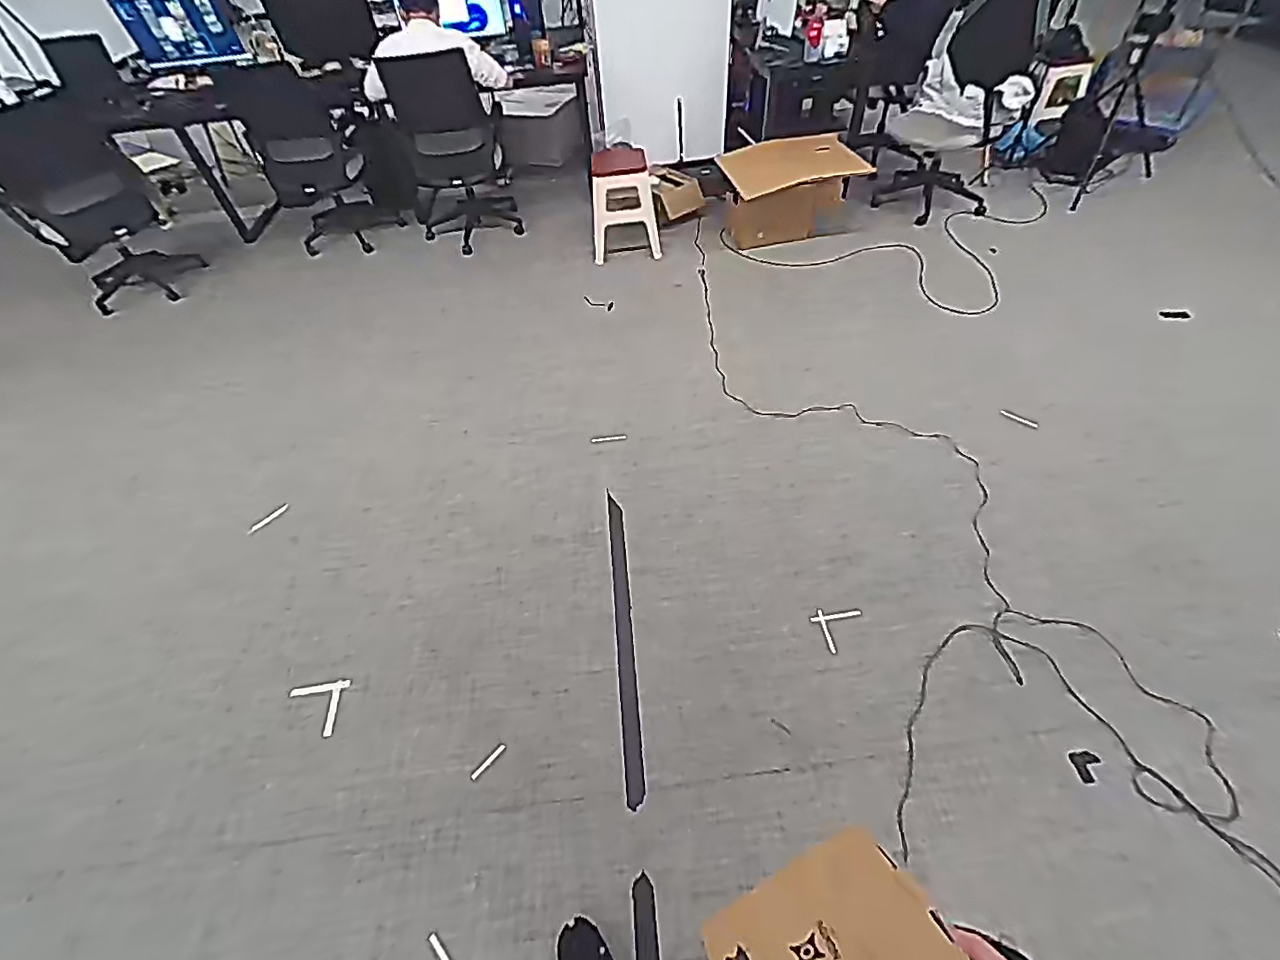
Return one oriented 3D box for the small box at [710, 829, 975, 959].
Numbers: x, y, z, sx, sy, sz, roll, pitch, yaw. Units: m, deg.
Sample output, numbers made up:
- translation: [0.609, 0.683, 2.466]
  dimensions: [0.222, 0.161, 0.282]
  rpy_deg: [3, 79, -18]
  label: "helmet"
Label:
- translation: [0.182, 0.438, 0.427]
  dimensions: [0.179, 0.168, 0.176]
  rpy_deg: [-28, 89, -5]
  label: "small box"
